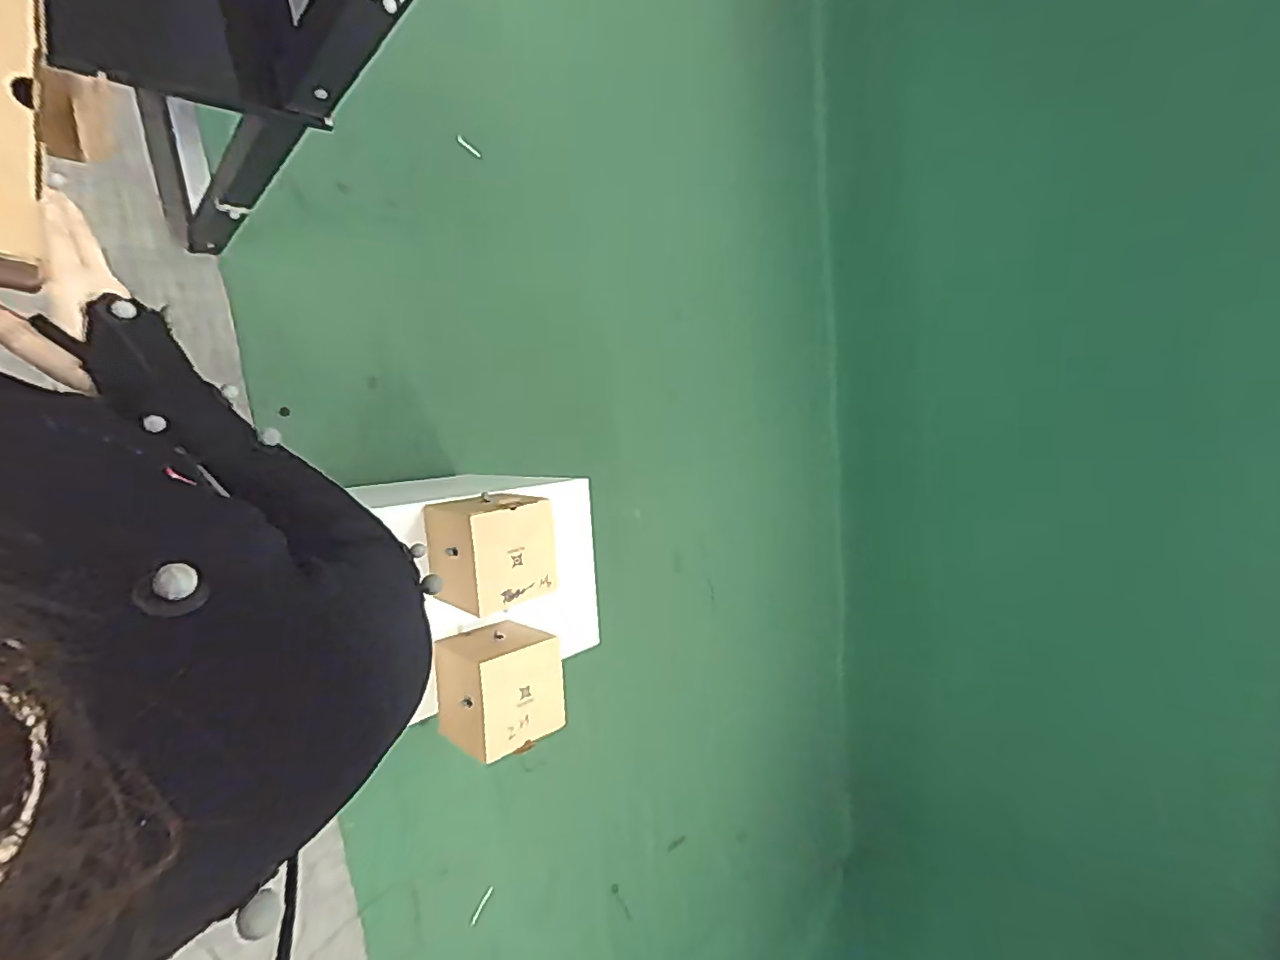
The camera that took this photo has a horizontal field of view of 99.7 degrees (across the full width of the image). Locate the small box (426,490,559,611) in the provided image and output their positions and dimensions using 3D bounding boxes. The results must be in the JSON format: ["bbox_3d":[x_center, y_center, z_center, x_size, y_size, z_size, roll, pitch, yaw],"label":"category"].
[{"bbox_3d":[-0.267,0.114,0.972,0.168,0.176,0.179,-11,101,-45],"label":"small box"}]

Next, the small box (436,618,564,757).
[{"bbox_3d":[-0.259,0.364,0.992,0.168,0.176,0.179,-7,97,-46],"label":"small box"}]
